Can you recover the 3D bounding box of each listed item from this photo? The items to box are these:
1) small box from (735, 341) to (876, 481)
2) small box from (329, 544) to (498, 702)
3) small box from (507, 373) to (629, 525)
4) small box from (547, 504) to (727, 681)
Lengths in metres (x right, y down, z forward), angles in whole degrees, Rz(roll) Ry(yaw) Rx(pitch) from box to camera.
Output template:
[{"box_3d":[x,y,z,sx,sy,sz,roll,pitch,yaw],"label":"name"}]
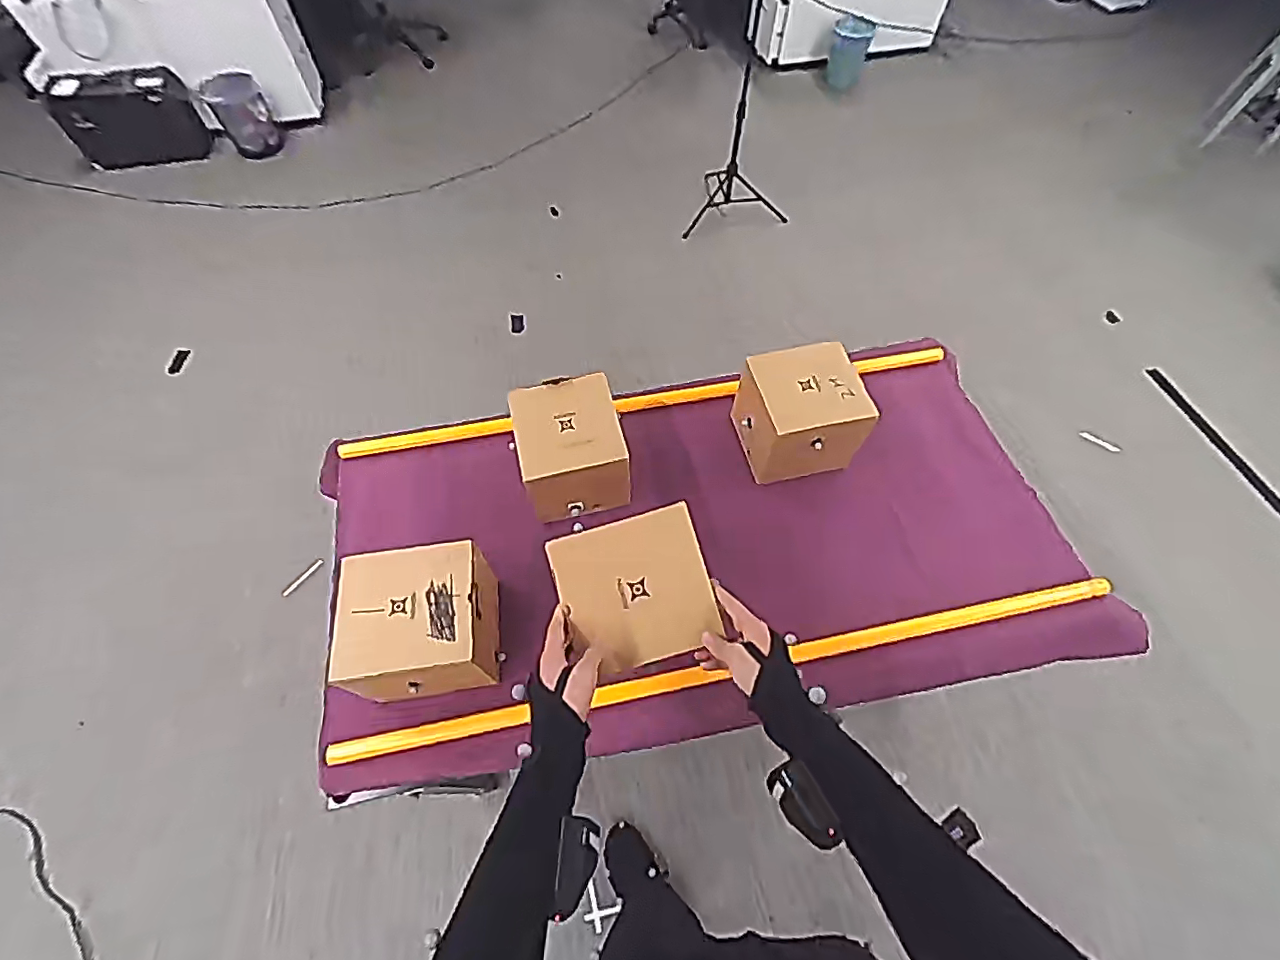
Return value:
[{"box_3d":[0.276,-0.115,0.956,0.179,0.176,0.168,-11,62,-7],"label":"small box"},{"box_3d":[-0.301,0.206,0.763,0.179,0.176,0.168,-8,60,-5],"label":"small box"},{"box_3d":[-0.118,-0.049,0.916,0.168,0.176,0.179,-14,62,-7],"label":"small box"},{"box_3d":[-0.002,0.139,0.700,0.179,0.176,0.168,-17,80,1],"label":"small box"}]
